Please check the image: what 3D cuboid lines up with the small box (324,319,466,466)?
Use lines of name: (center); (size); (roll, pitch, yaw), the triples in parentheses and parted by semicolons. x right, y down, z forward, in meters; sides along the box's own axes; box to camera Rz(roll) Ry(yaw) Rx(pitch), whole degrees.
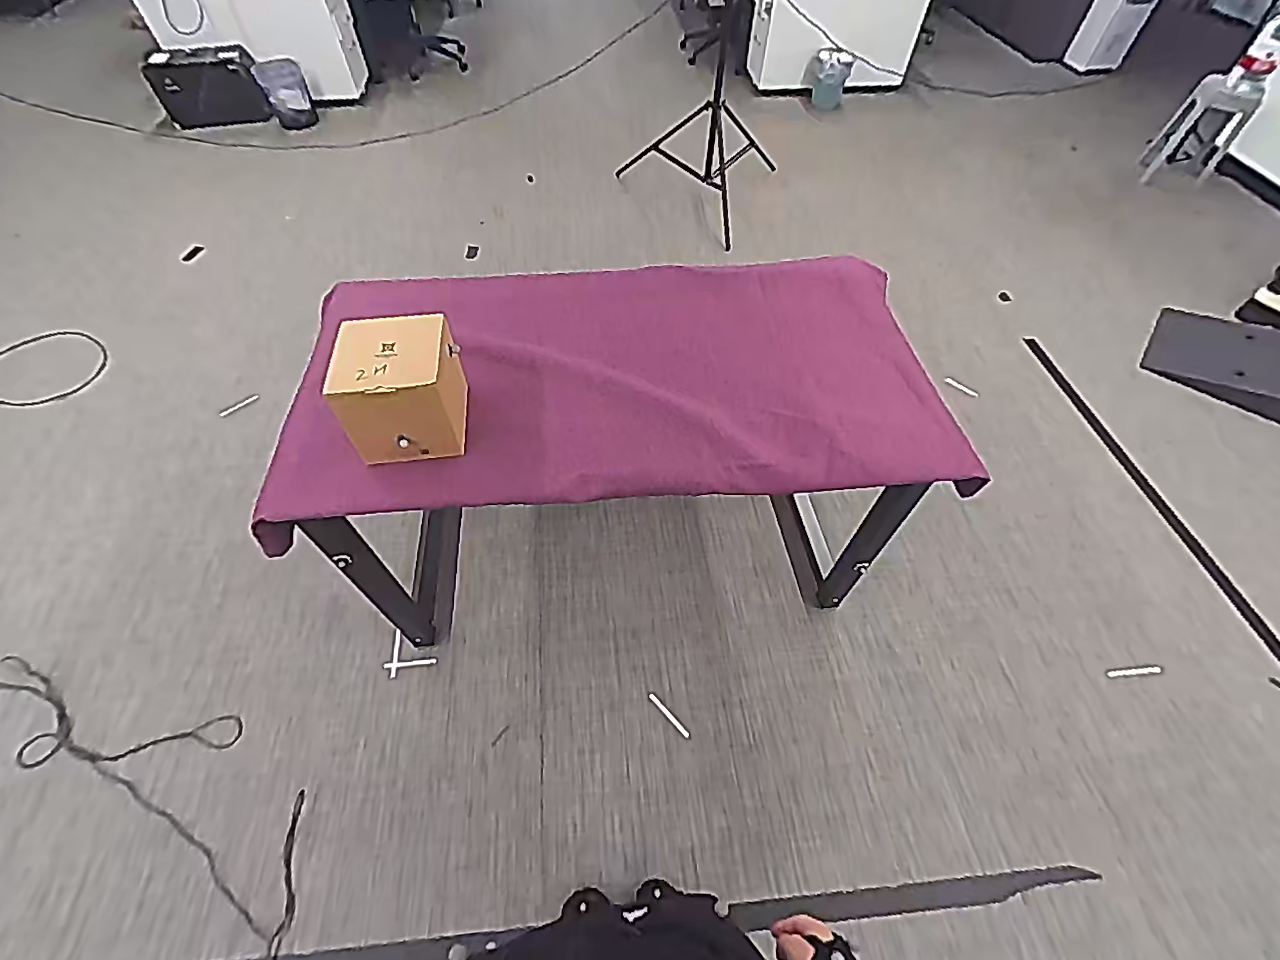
small box: (-0.399, -0.147, 0.917); (0.168, 0.176, 0.179); (-7, 54, -6)
